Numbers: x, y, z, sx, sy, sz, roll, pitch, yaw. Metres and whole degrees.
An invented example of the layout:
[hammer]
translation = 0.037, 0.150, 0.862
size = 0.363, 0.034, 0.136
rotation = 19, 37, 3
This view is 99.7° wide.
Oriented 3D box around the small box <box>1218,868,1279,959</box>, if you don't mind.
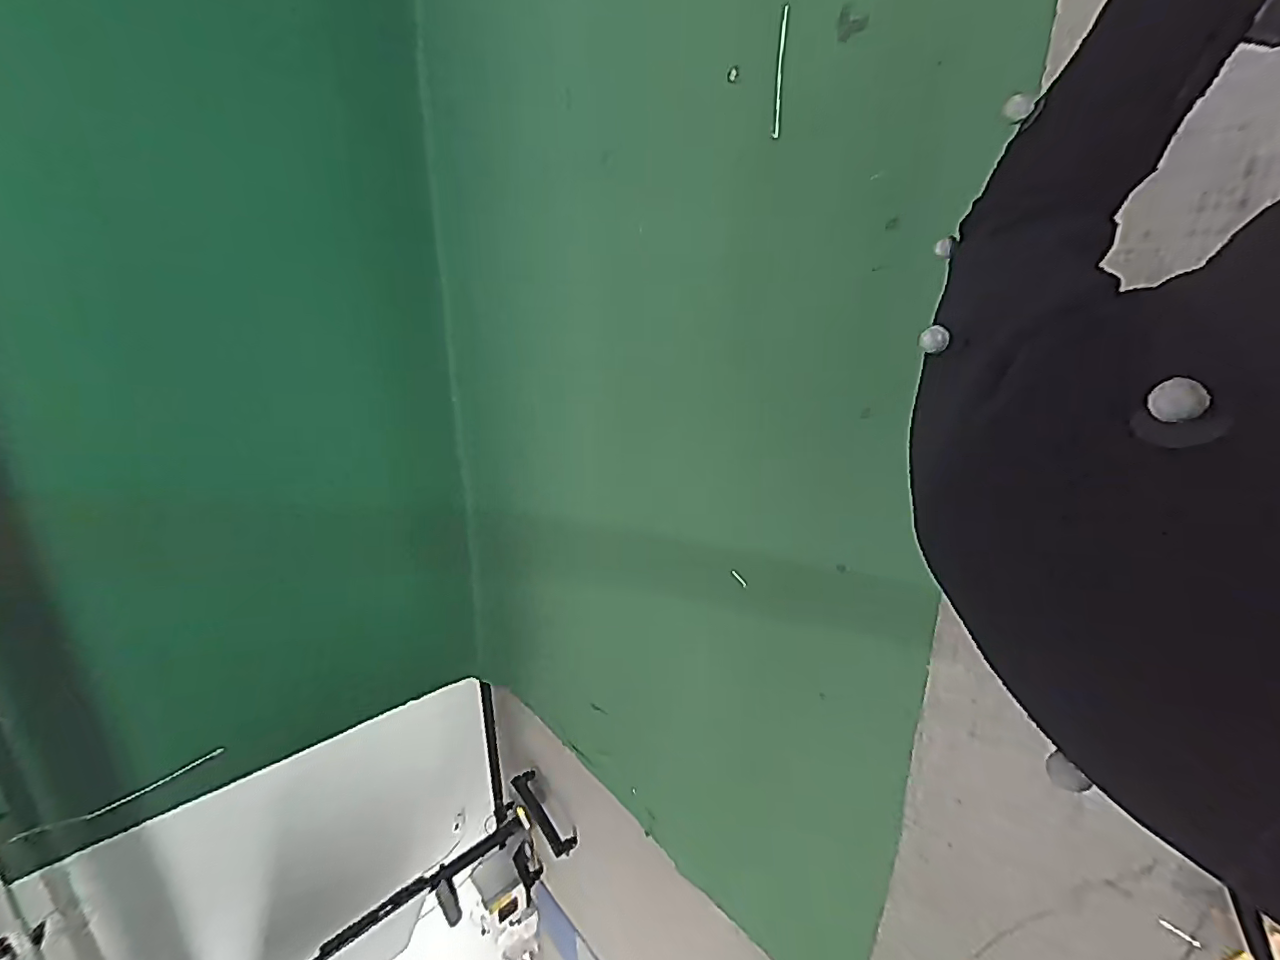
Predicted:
[small box]
translation = 1.280, 0.909, 1.037
size = 0.179, 0.176, 0.168
rotation = 36, 127, 39
